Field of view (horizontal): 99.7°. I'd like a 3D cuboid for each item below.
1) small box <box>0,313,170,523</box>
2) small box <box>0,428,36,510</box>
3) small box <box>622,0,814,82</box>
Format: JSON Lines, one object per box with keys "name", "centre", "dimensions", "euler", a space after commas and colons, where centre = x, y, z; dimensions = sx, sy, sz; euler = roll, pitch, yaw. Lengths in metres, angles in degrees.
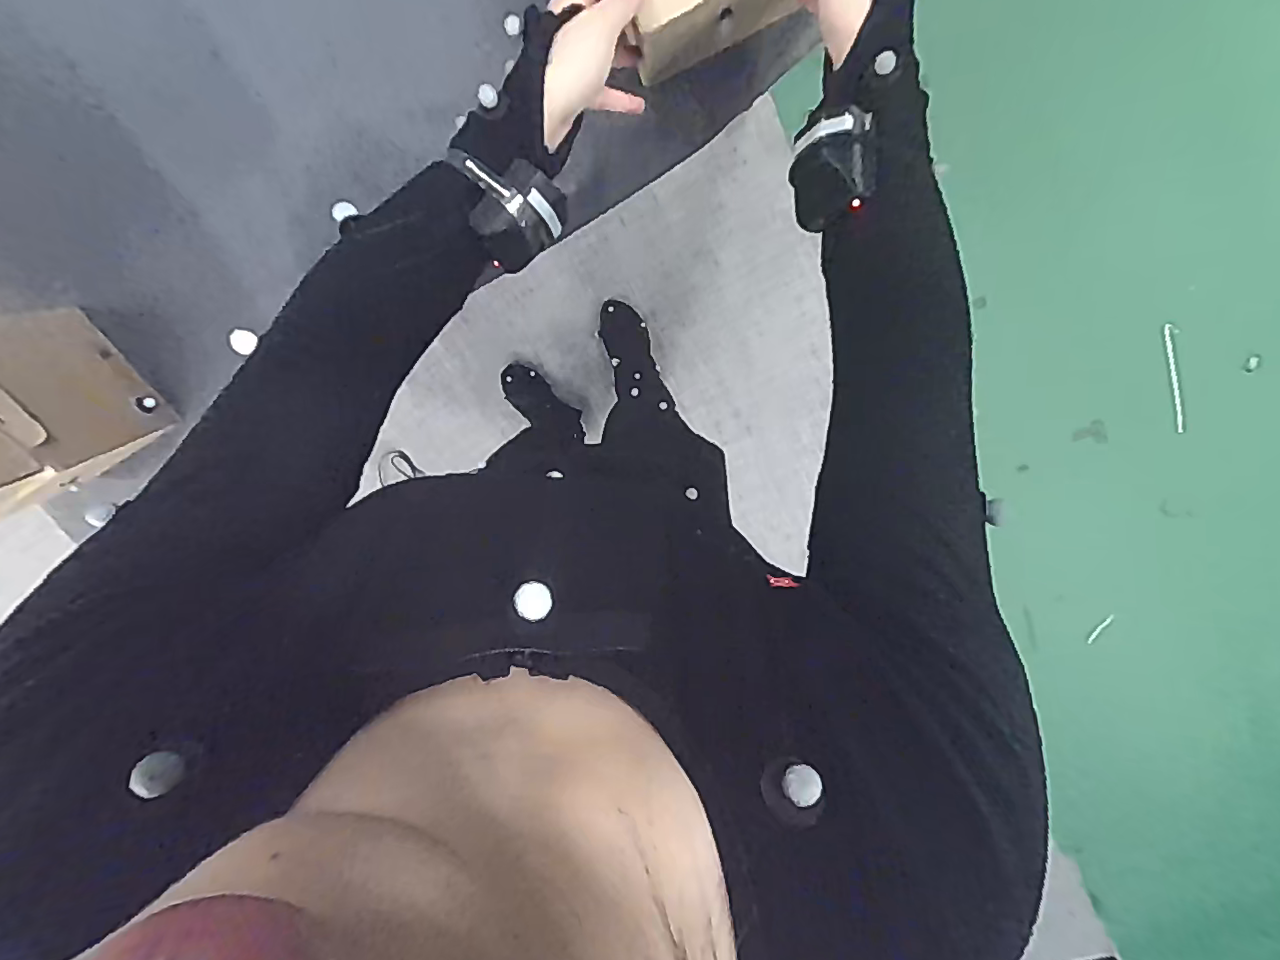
{"name": "small box", "centre": [-0.709, -0.073, 0.625], "dimensions": [0.179, 0.176, 0.168], "euler": [-25, 113, 14]}
{"name": "small box", "centre": [-0.728, 0.003, 0.482], "dimensions": [0.179, 0.176, 0.168], "euler": [-30, 112, 15]}
{"name": "small box", "centre": [0.055, -0.446, 0.413], "dimensions": [0.179, 0.176, 0.168], "euler": [-20, 113, 12]}
